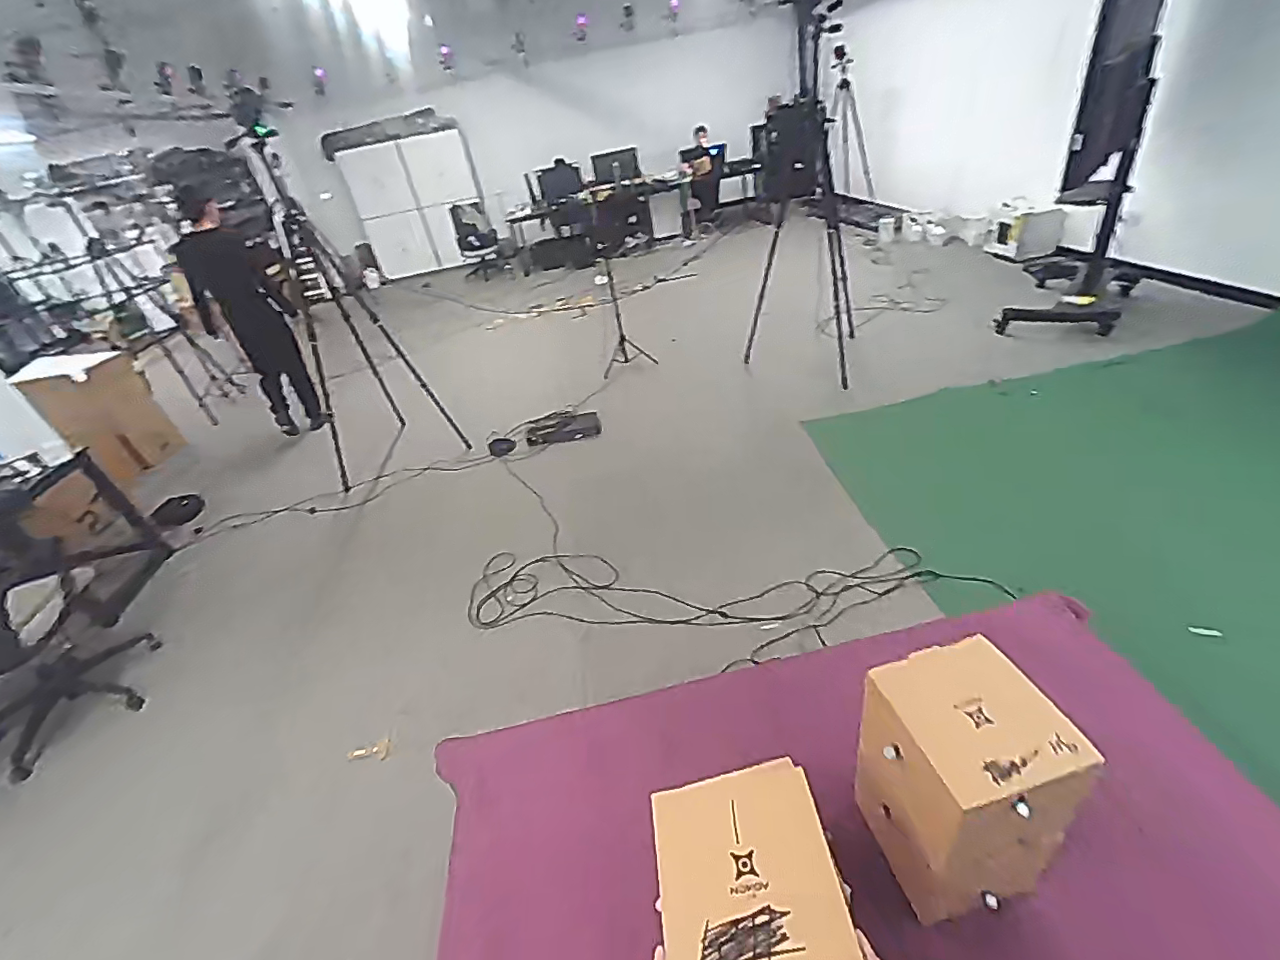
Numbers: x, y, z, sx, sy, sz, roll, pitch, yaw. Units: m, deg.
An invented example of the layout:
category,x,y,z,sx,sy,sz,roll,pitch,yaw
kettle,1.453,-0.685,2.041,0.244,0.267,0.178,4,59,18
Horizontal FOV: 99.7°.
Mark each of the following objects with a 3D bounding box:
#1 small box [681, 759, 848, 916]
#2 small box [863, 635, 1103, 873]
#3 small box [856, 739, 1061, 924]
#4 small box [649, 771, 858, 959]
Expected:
category,x,y,z,sx,sy,sz,roll,pitch,yaw
small box,0.161,0.525,0.737,0.168,0.176,0.179,-14,35,-4
small box,0.391,0.328,0.658,0.168,0.176,0.179,-15,33,-5
small box,0.418,0.462,0.749,0.168,0.176,0.179,-15,34,-5
small box,0.110,0.430,0.541,0.168,0.176,0.179,-11,35,3
